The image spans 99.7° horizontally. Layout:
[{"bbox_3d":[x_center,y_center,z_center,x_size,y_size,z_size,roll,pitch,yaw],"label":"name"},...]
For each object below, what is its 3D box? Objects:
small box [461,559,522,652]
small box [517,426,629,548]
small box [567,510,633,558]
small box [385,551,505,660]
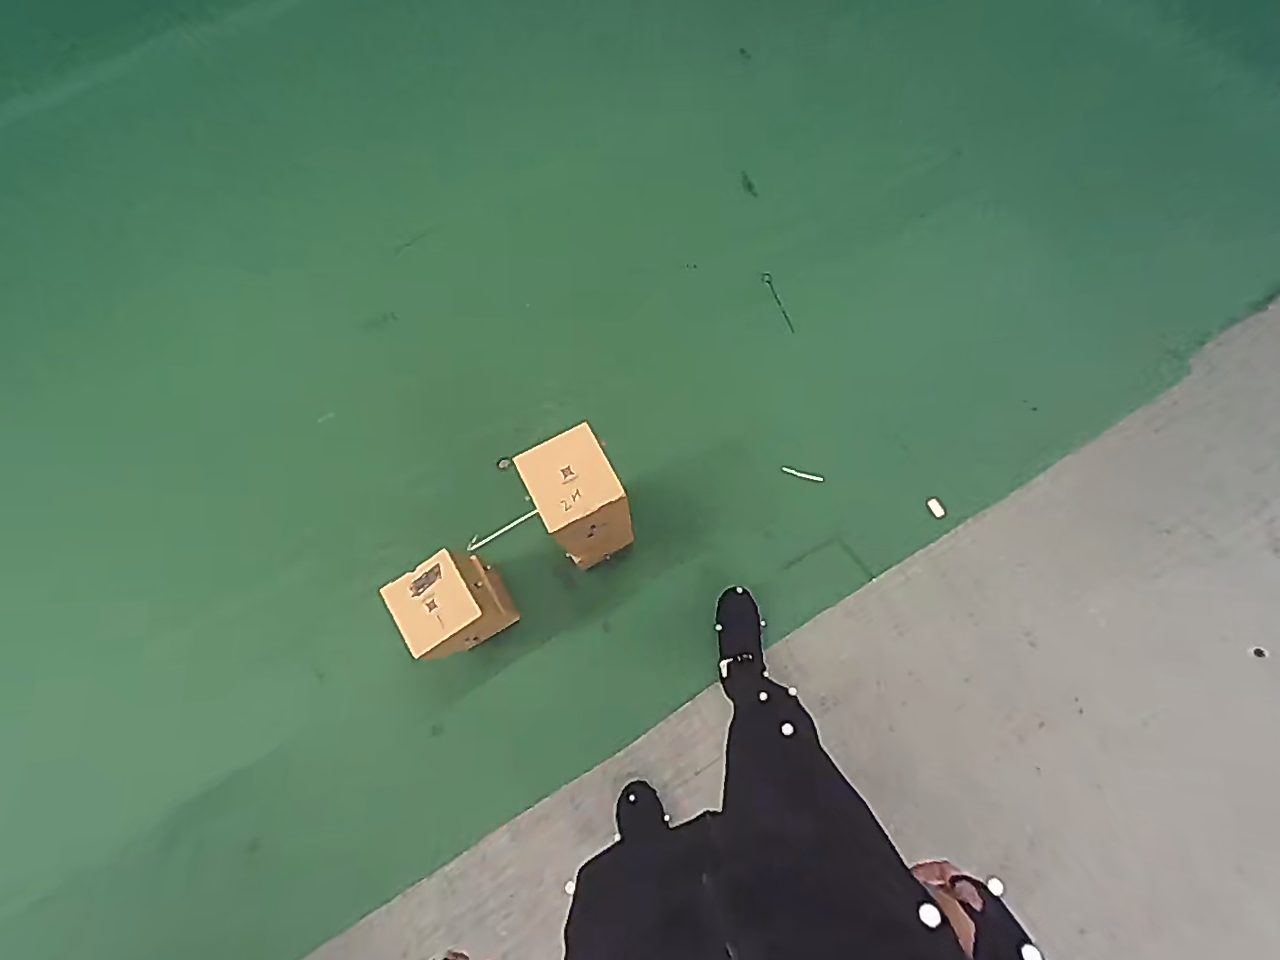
[{"bbox_3d":[-0.425,0.327,1.391,0.168,0.176,0.179,-30,74,-6],"label":"small box"},{"bbox_3d":[-0.132,0.022,1.125,0.168,0.176,0.179,-27,75,-6],"label":"small box"},{"bbox_3d":[-0.127,0.064,1.284,0.168,0.176,0.179,-28,74,-6],"label":"small box"},{"bbox_3d":[-0.435,0.289,1.231,0.168,0.176,0.179,-33,75,-7],"label":"small box"}]
